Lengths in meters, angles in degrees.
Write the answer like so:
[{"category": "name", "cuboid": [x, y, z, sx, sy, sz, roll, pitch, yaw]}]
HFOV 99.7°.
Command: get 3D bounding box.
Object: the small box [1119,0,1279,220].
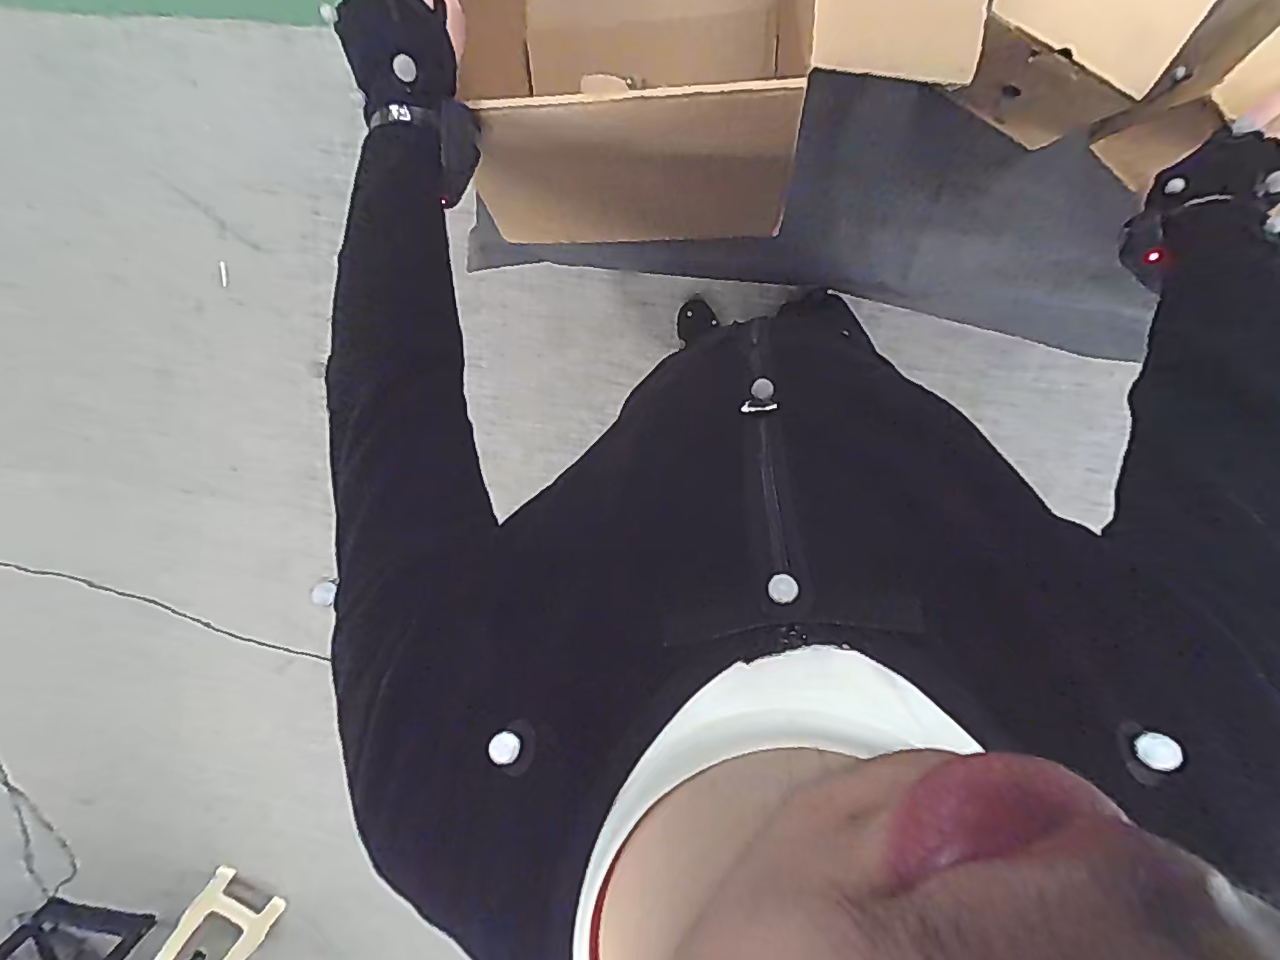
[{"category": "small box", "cuboid": [0.640, -0.388, 0.537, 0.168, 0.176, 0.179, 38, 109, -7]}]
